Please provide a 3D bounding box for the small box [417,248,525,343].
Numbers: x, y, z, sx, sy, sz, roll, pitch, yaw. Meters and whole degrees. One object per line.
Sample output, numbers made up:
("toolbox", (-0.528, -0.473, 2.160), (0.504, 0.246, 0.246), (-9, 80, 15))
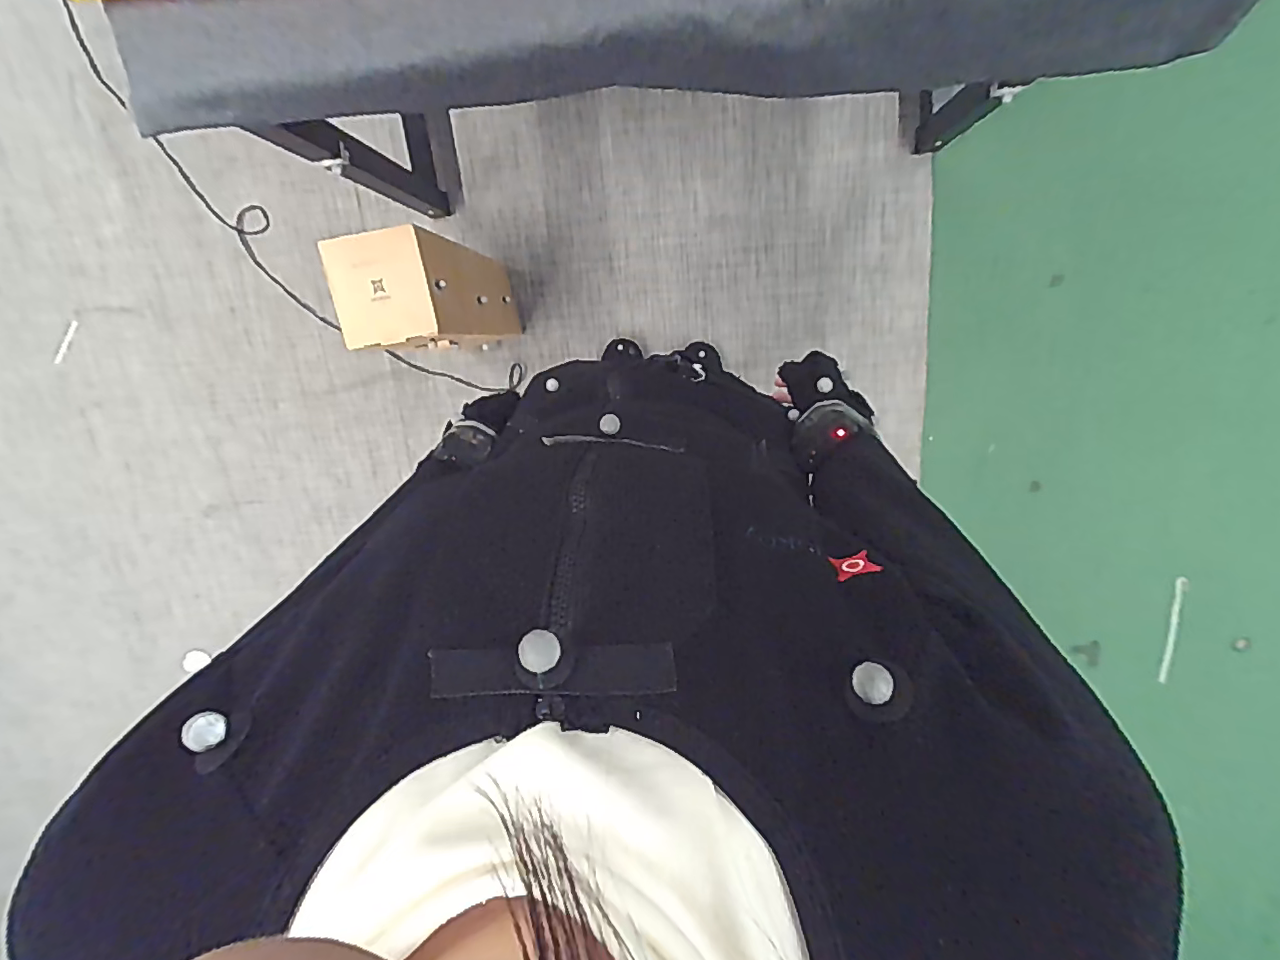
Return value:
("small box", (-0.389, -0.426, 1.275), (0.168, 0.176, 0.179), (-11, 105, 7))
